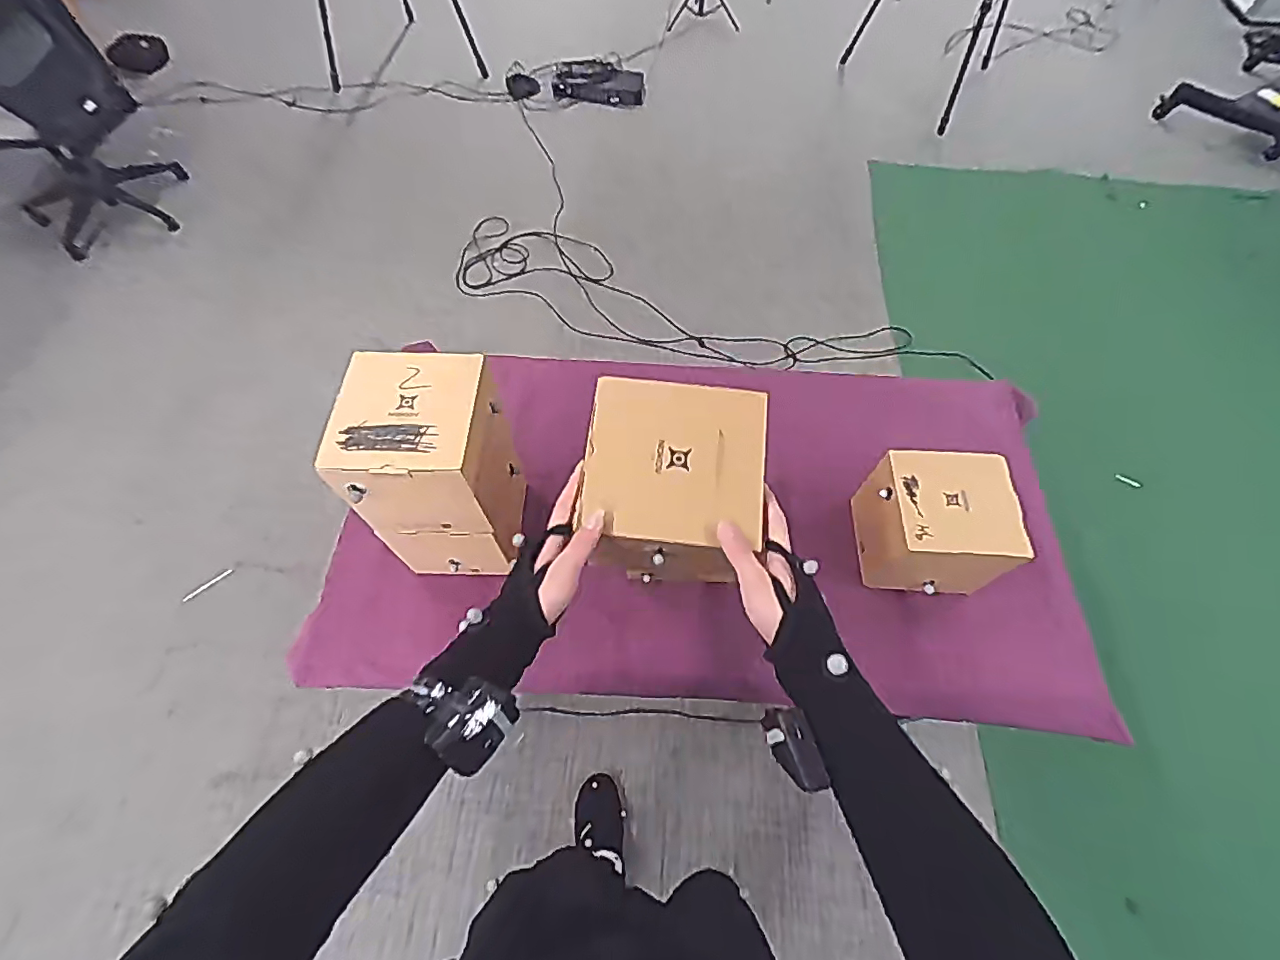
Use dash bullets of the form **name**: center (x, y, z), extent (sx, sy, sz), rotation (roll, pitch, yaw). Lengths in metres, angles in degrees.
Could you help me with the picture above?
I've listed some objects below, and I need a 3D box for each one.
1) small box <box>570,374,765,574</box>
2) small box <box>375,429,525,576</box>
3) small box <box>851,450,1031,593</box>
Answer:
- **small box**: center (0.032, 0.003, 0.600), extent (0.179, 0.176, 0.168), rotation (7, 70, 3)
- **small box**: center (-0.283, 0.039, 0.853), extent (0.168, 0.176, 0.179), rotation (1, 61, 0)
- **small box**: center (0.454, 0.072, 0.846), extent (0.179, 0.176, 0.168), rotation (4, 61, 1)
